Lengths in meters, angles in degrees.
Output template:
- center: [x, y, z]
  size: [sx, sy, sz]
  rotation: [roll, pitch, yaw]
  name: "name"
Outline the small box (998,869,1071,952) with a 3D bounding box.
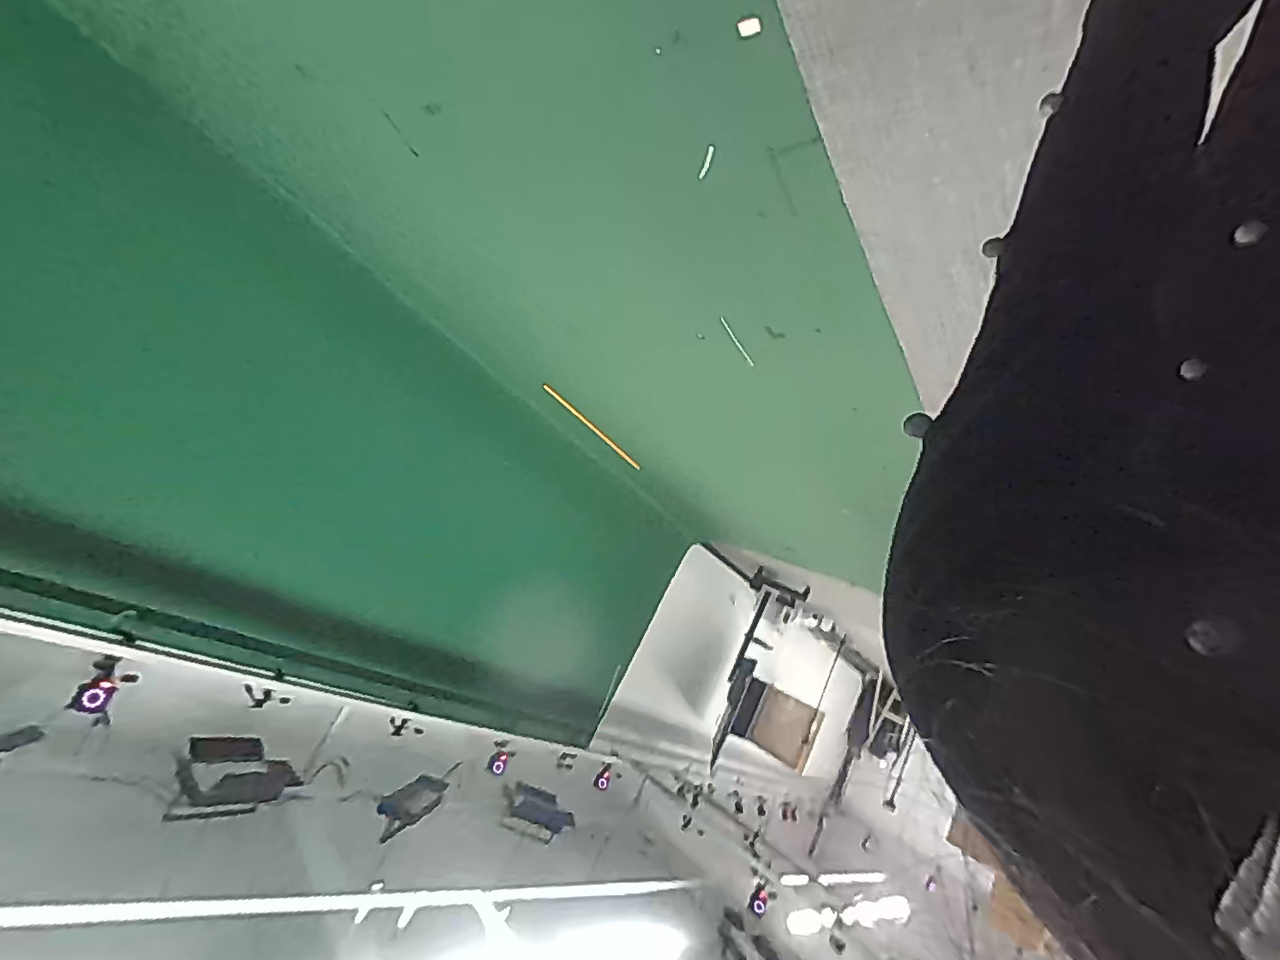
- center: [1.387, 1.501, 1.897]
  size: [0.168, 0.176, 0.179]
  rotation: [14, 160, 48]
  name: "small box"
